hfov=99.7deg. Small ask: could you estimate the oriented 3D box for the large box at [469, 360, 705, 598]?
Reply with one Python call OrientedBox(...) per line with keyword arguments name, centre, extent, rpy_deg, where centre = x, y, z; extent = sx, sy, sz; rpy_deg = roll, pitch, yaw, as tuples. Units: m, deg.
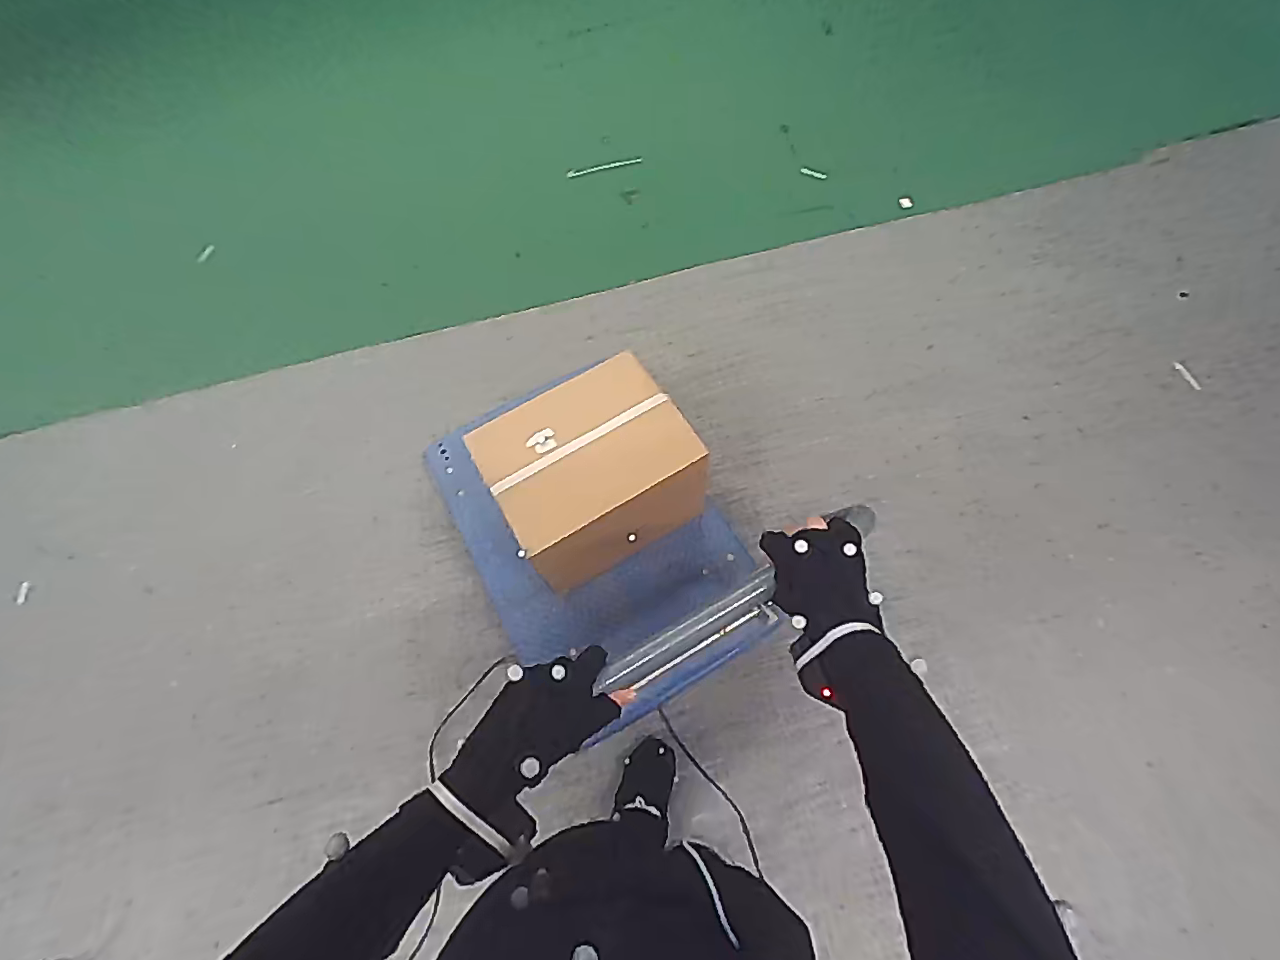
OrientedBox(name="large box", centre=(-0.102, 0.008, 1.237), extent=(0.408, 0.320, 0.320), rpy_deg=(-31, 65, -10))
